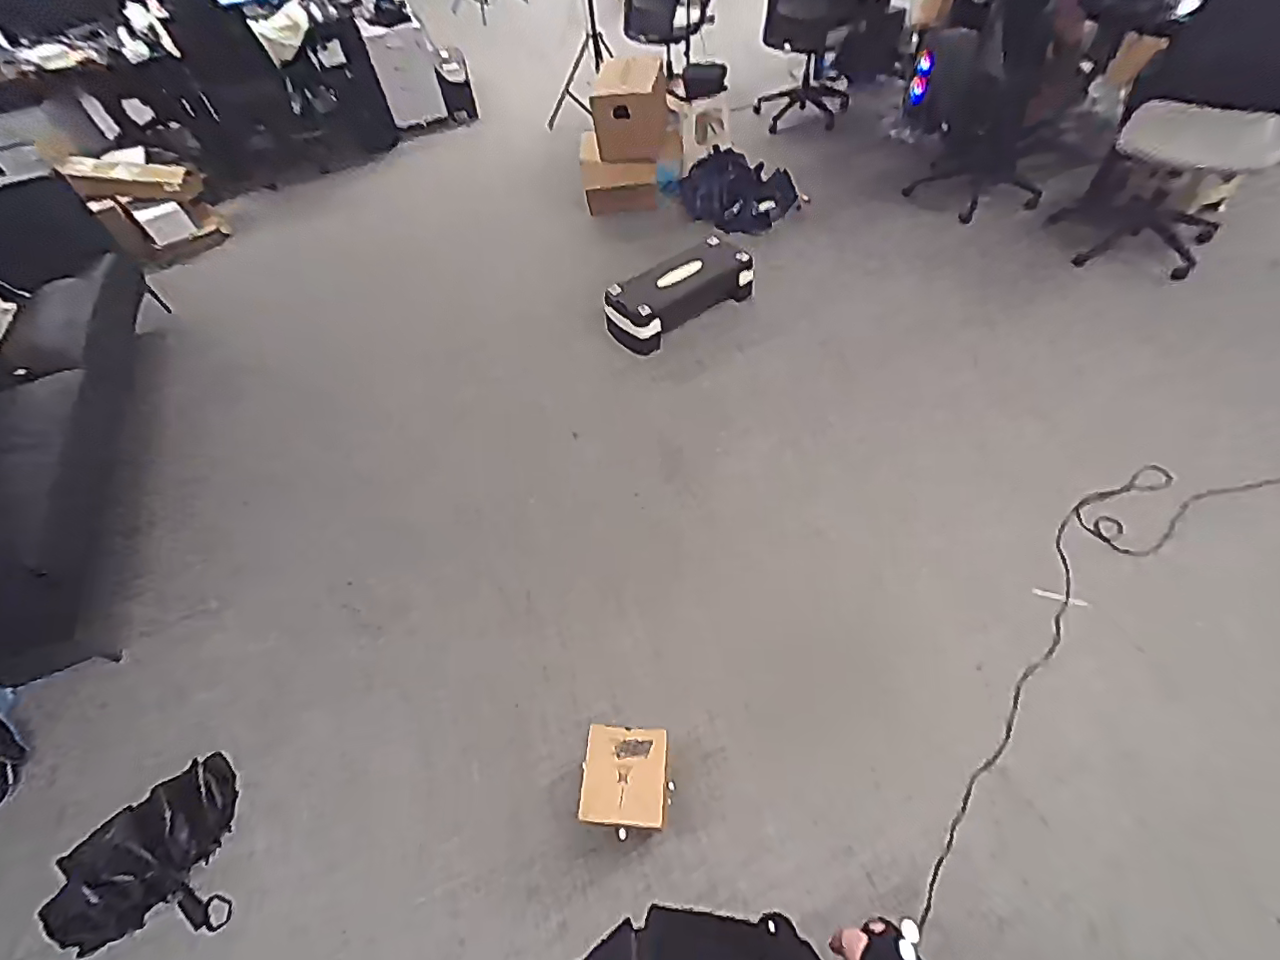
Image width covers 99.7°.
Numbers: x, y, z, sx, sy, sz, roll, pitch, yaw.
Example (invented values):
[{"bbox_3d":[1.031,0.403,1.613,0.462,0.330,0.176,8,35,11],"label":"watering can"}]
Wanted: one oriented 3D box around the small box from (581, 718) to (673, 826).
[{"bbox_3d":[-0.019,0.627,1.158,0.168,0.176,0.179,1,55,8],"label":"small box"}]
